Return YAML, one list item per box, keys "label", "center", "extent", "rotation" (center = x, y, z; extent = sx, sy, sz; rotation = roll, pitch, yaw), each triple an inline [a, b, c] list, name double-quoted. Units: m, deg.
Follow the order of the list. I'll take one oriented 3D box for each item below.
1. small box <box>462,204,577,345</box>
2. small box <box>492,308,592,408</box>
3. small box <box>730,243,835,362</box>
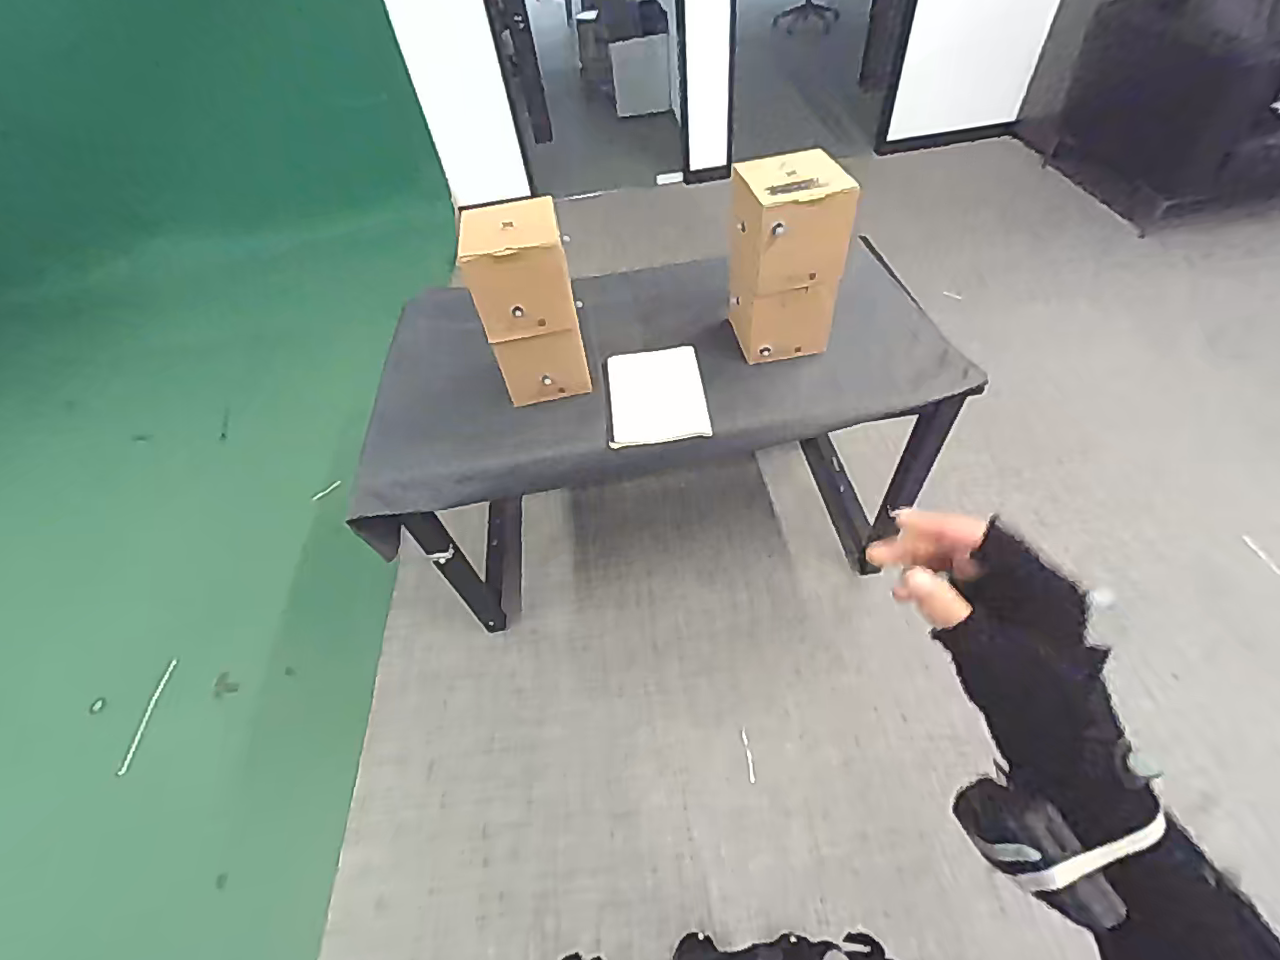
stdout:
- label: "small box"
  center: [-0.214, -0.372, 0.985]
  extent: [0.168, 0.176, 0.179]
  rotation: [-11, 50, -3]
- label: "small box"
  center: [-0.201, -0.275, 1.115]
  extent: [0.168, 0.176, 0.179]
  rotation: [-12, 50, -3]
- label: "small box"
  center: [0.287, -0.362, 1.127]
  extent: [0.168, 0.176, 0.179]
  rotation: [-9, 49, -1]
